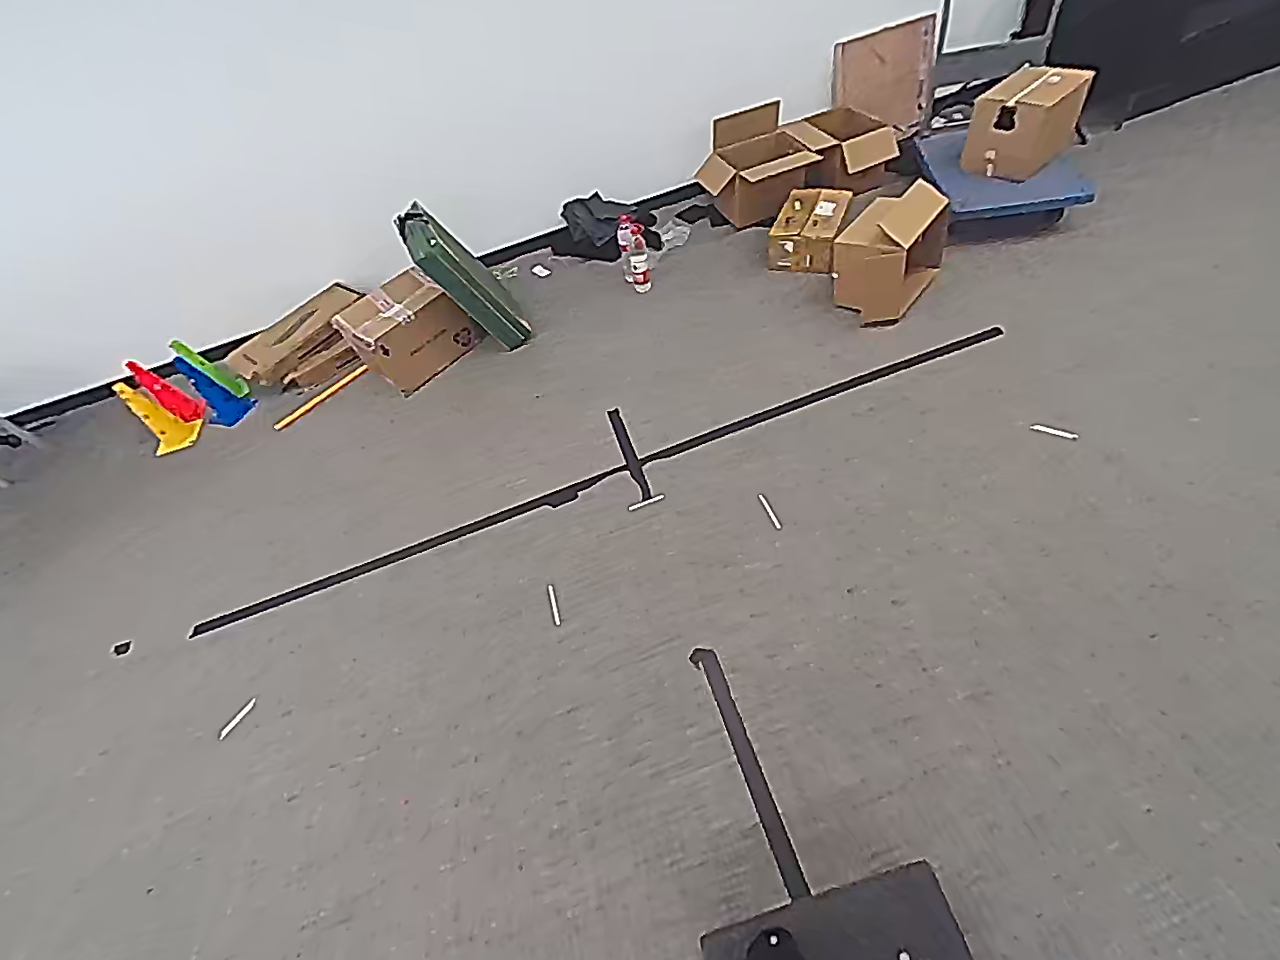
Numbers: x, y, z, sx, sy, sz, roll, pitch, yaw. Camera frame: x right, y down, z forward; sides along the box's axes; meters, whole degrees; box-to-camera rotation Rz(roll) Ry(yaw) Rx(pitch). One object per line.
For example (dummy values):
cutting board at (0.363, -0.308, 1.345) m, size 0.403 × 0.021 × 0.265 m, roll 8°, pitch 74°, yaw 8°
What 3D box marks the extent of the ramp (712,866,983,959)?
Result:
ramp at (0.520, 1.257, 0.835) m, size 0.509 × 0.206 × 0.991 m, roll -20°, pitch 50°, yaw -4°
